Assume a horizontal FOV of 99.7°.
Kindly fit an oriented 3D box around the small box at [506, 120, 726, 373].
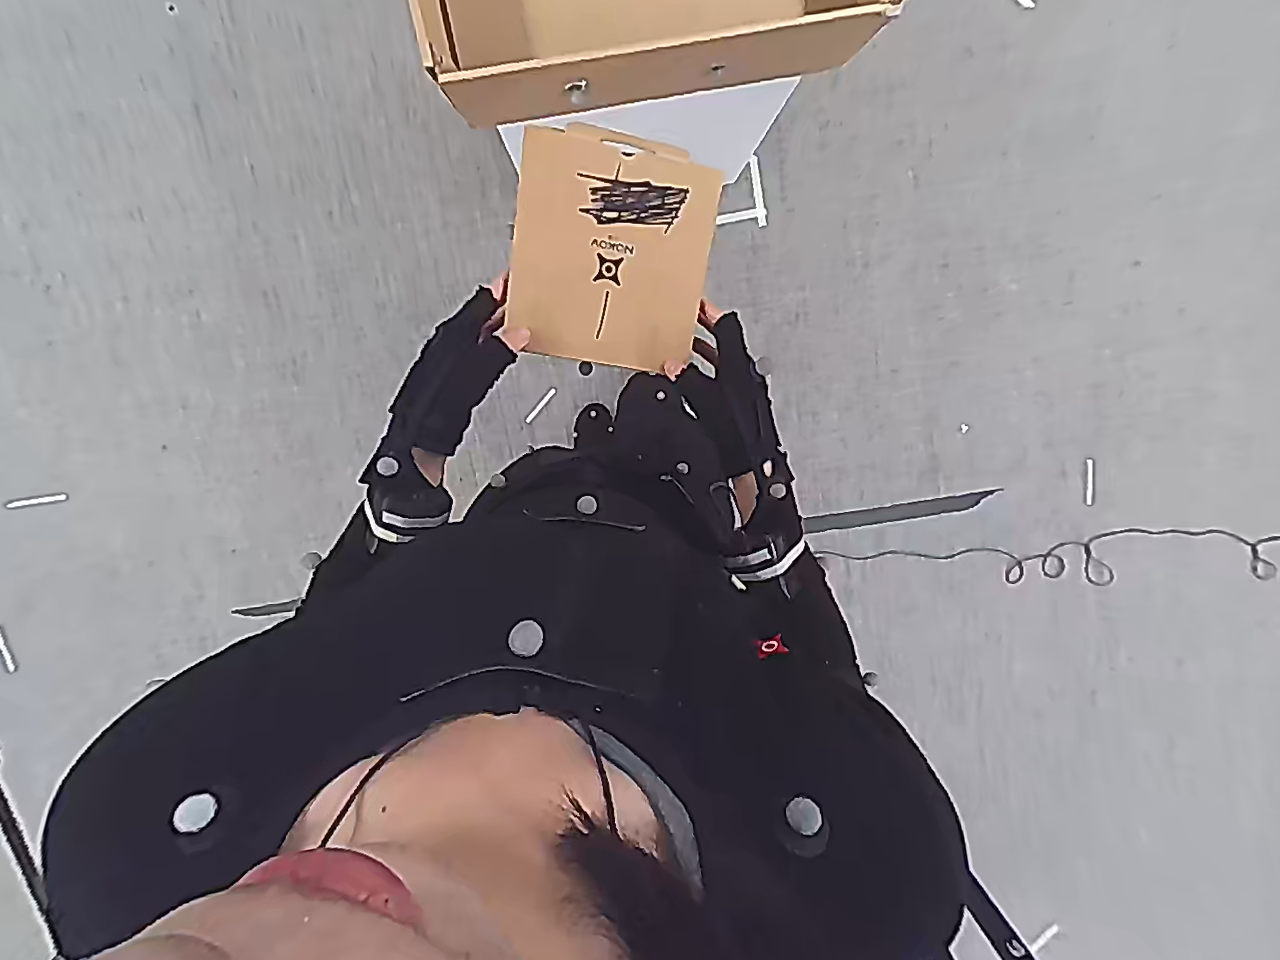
[{"bbox_3d":[-0.031,-0.208,0.531,0.168,0.176,0.179,8,103,-8],"label":"small box"}]
